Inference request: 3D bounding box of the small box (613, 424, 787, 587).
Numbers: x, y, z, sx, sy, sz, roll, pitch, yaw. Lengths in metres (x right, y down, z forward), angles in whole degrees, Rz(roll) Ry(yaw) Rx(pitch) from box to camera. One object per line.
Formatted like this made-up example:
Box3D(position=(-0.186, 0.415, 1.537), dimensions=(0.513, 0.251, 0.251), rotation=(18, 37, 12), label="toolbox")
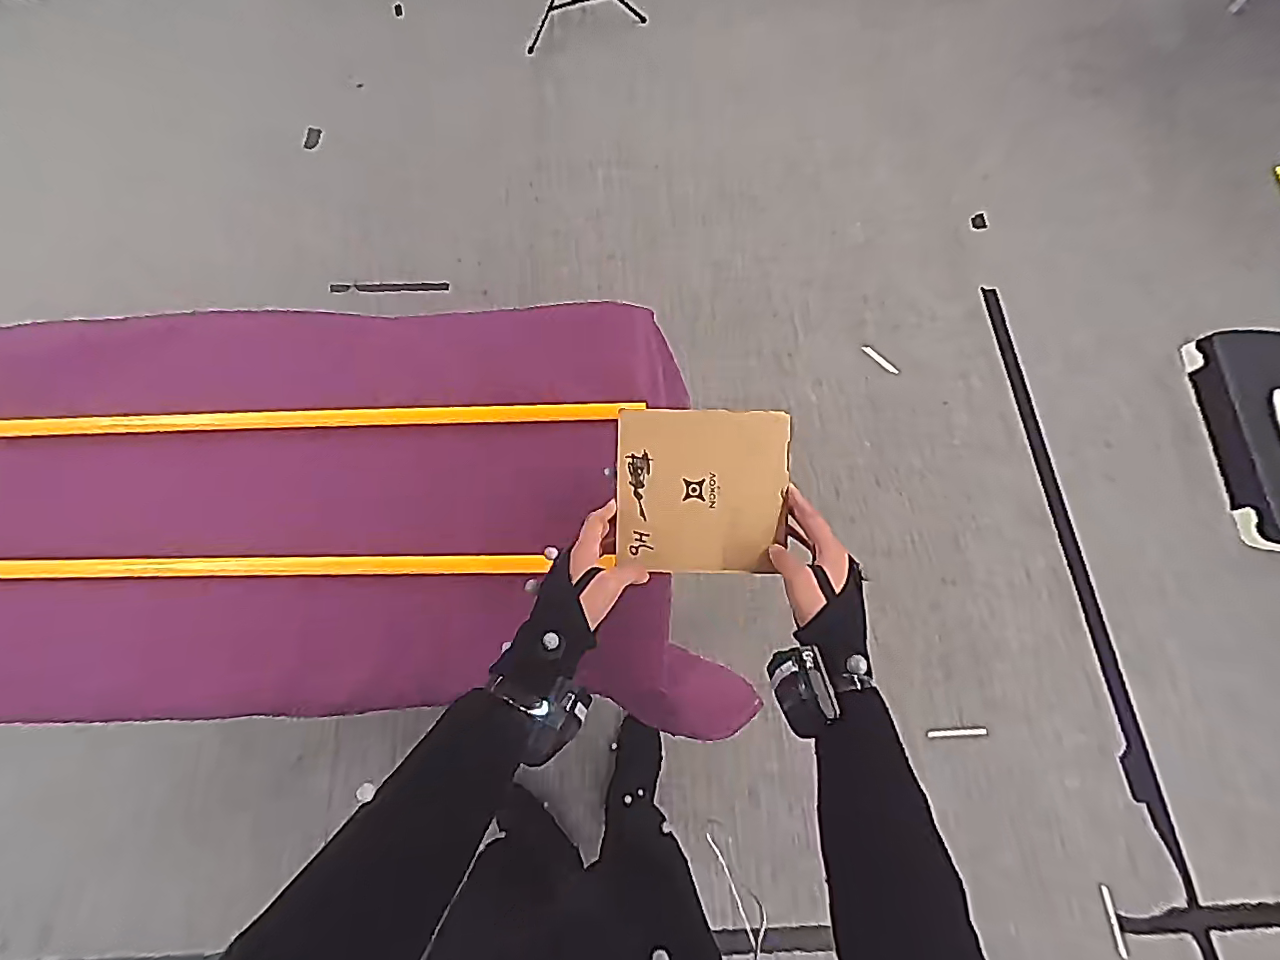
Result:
Box3D(position=(0.062, 0.026, 0.634), dimensions=(0.179, 0.176, 0.168), rotation=(2, 89, 1), label="small box")
